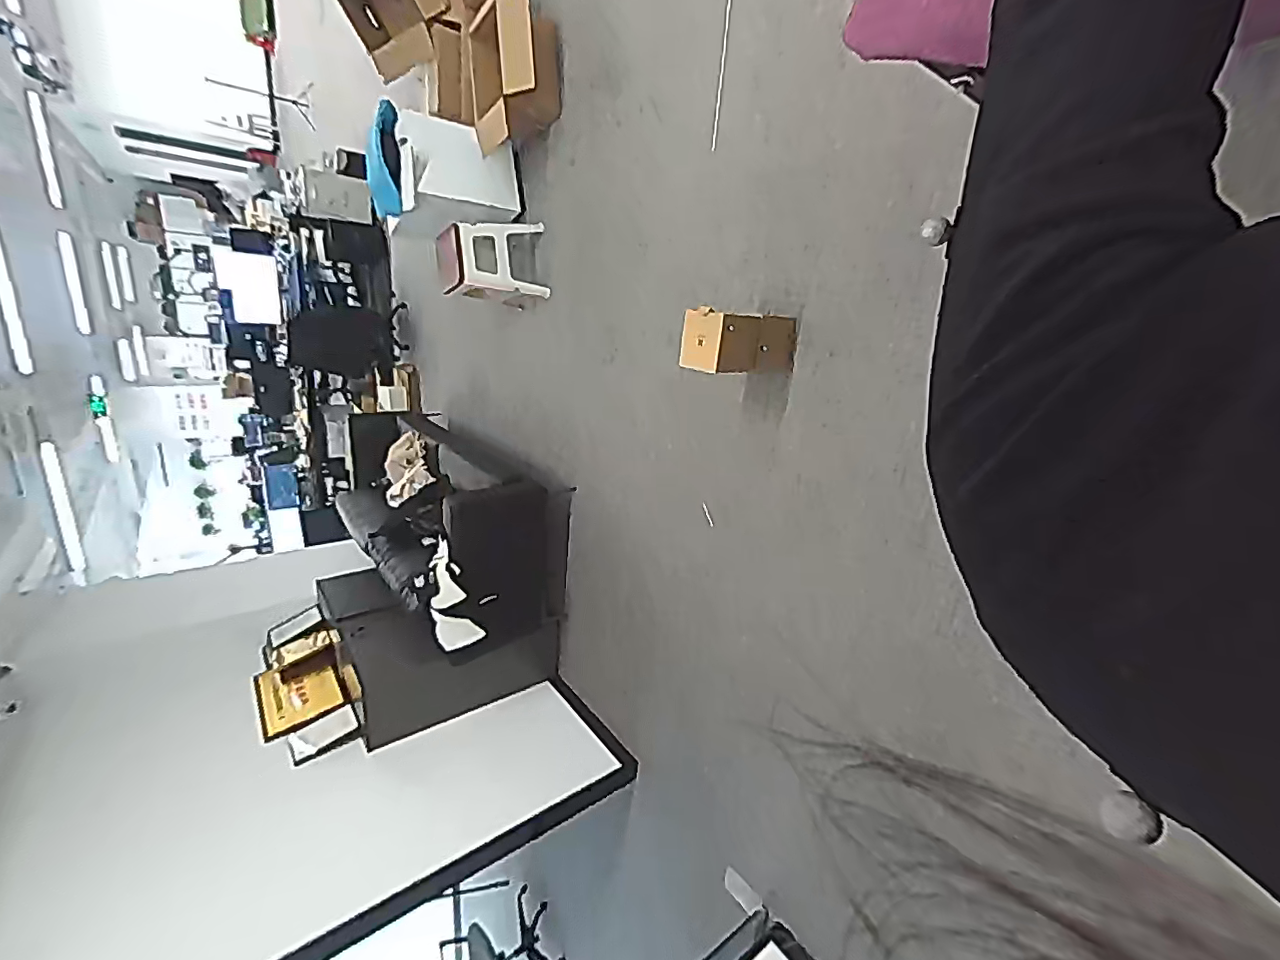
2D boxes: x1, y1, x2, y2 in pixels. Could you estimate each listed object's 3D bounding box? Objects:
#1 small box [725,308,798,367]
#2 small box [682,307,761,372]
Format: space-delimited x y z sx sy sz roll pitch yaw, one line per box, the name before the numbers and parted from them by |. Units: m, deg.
small box | 0.384 -0.465 1.770 0.179 0.176 0.168 26 117 48
small box | 0.254 -0.435 1.676 0.168 0.176 0.179 26 116 47
